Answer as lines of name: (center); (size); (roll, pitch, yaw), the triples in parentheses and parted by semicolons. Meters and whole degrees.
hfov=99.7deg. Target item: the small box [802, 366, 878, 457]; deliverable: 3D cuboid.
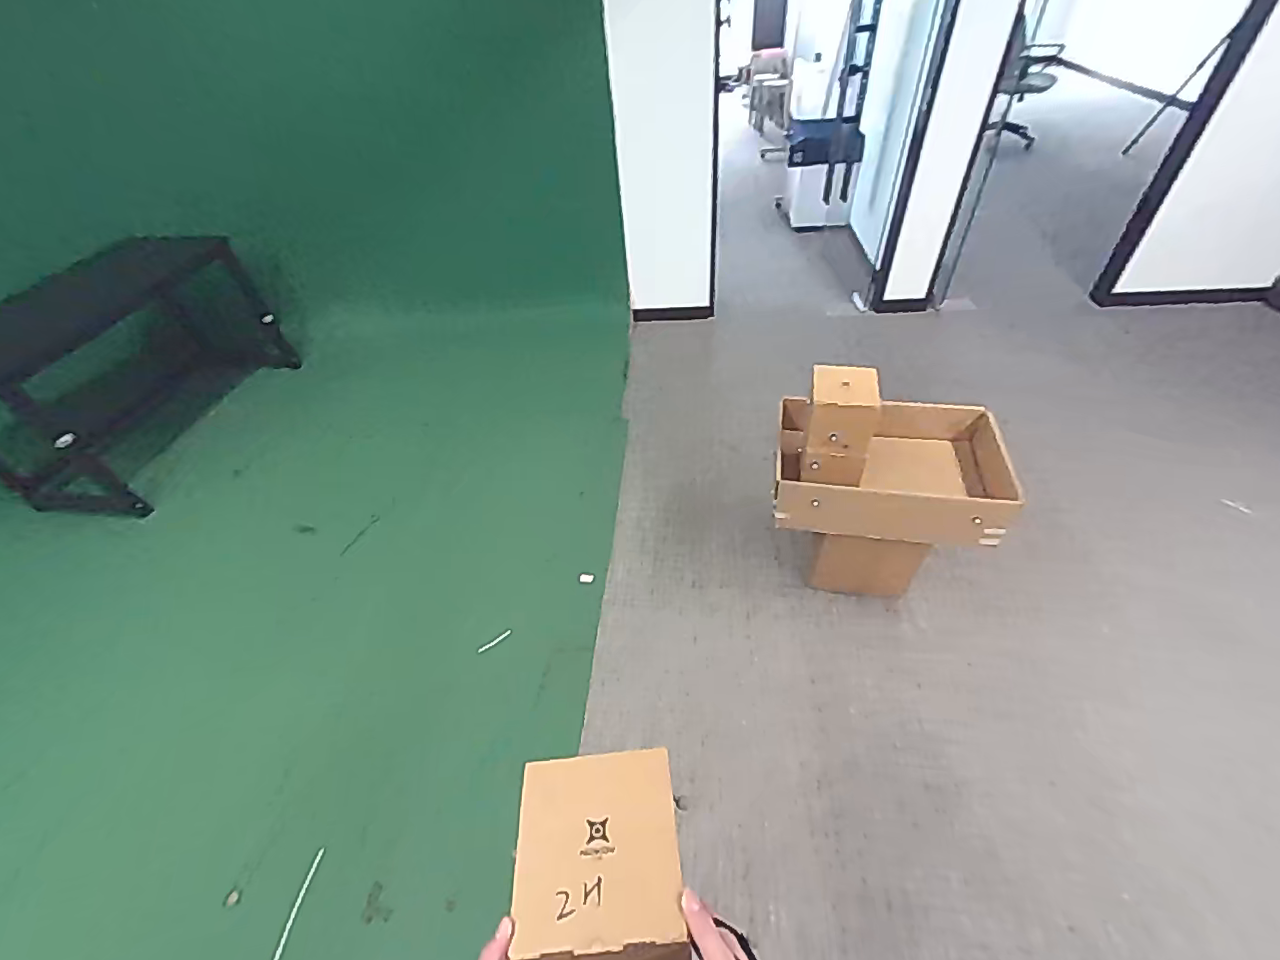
small box: (0.543, -0.189, 1.489); (0.168, 0.176, 0.179); (7, 47, 11)

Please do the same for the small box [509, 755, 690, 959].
small box: (-0.036, 0.436, 0.598); (0.168, 0.176, 0.179); (-5, 38, 0)
